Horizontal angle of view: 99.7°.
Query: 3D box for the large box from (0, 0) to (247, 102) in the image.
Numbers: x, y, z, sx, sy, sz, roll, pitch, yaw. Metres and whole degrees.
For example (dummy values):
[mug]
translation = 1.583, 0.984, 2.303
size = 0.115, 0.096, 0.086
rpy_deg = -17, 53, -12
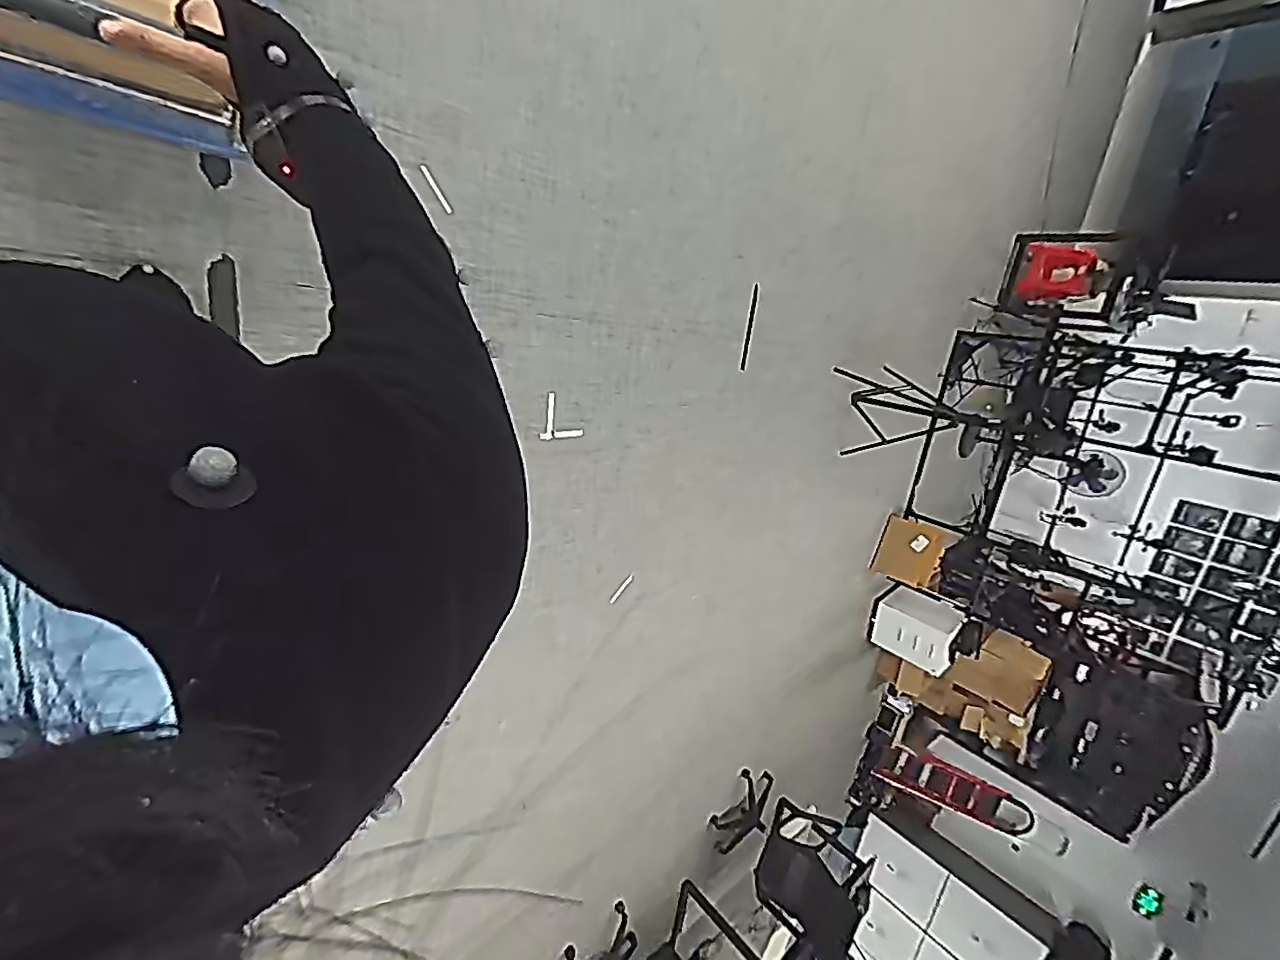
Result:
[large box]
translation = -0.771, -0.738, 0.672
size = 0.408, 0.320, 0.320
rpy_deg = -7, 113, -44
